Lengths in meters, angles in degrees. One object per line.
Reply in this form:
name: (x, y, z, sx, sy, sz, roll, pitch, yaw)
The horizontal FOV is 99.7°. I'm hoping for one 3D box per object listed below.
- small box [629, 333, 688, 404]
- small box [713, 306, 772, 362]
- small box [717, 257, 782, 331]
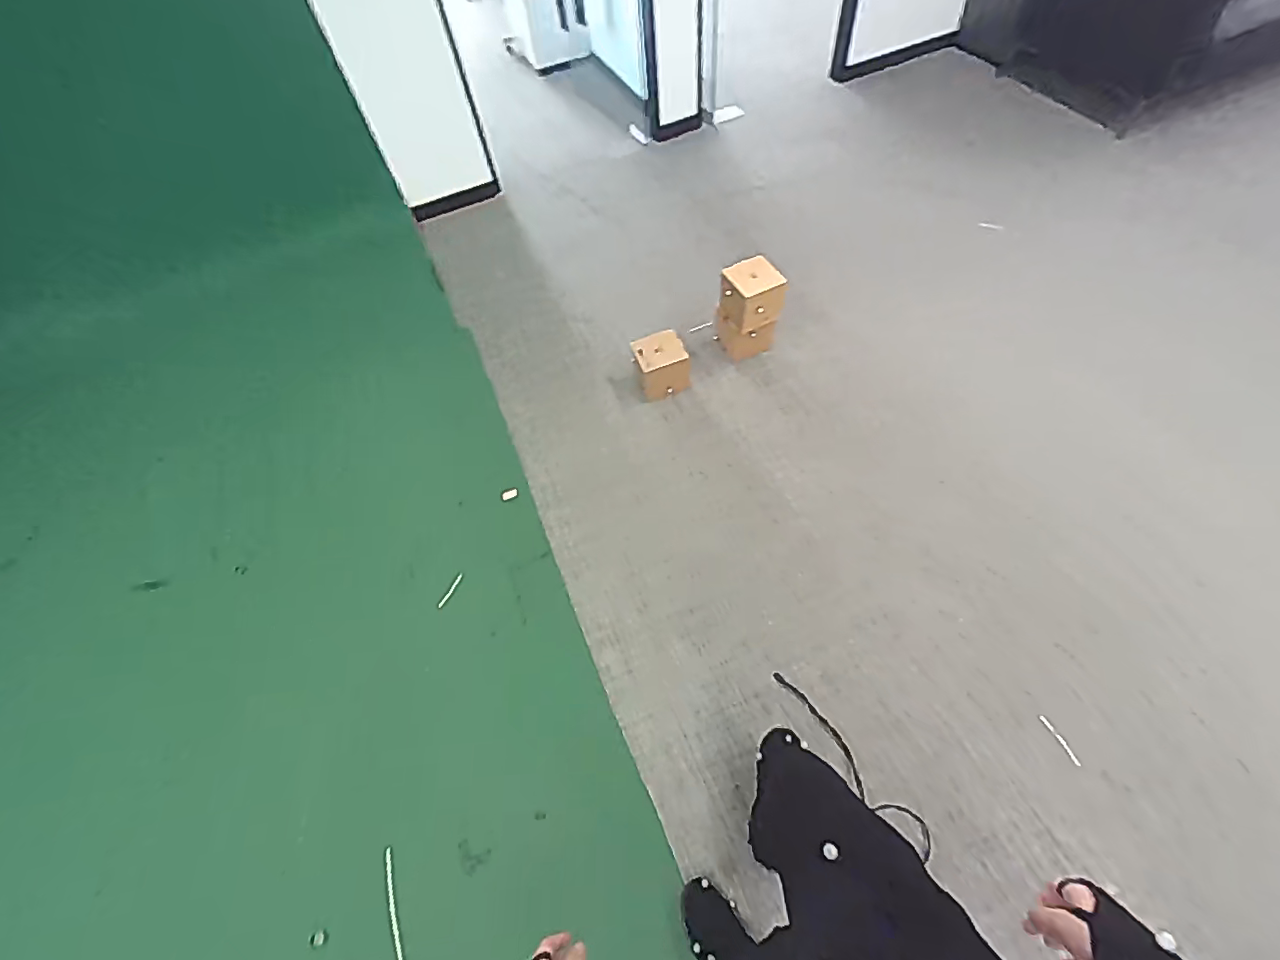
small box: (0.069, -0.417, 2.030, 0.179, 0.176, 0.168, -20, 58, -7)
small box: (0.396, -0.585, 2.098, 0.179, 0.176, 0.168, -21, 58, -8)
small box: (0.392, -0.662, 1.955, 0.168, 0.176, 0.179, -25, 59, -9)
